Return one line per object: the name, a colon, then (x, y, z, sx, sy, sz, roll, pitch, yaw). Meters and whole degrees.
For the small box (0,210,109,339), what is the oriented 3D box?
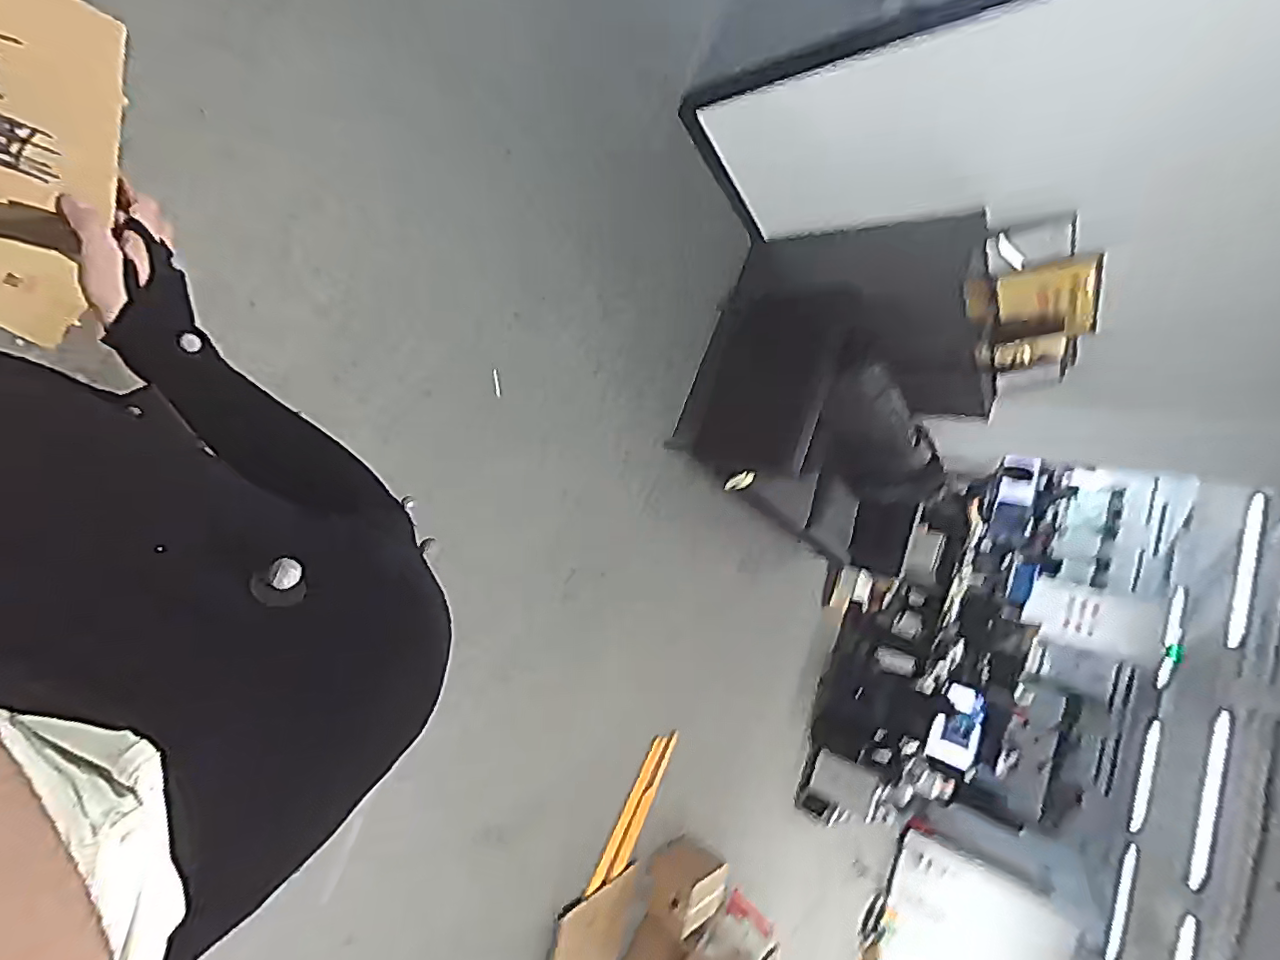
small box: (-1.163, -0.381, 1.014, 0.179, 0.176, 0.168, 38, 72, -48)
